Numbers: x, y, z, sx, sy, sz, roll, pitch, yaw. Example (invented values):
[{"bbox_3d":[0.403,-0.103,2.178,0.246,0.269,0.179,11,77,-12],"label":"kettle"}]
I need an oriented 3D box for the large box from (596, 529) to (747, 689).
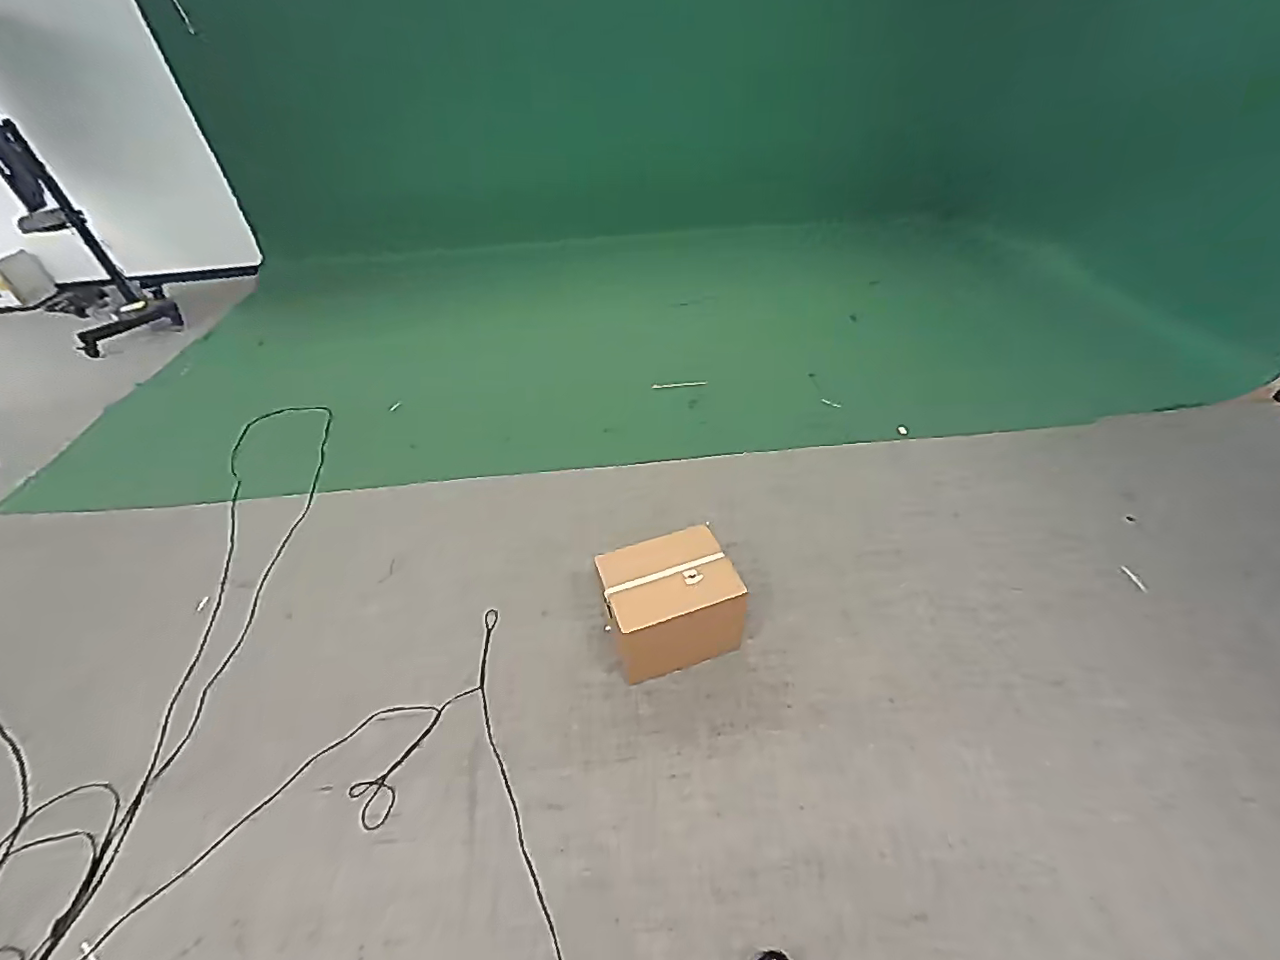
[{"bbox_3d":[0.100,0.424,1.797,0.408,0.320,0.320,-15,42,-13],"label":"large box"}]
